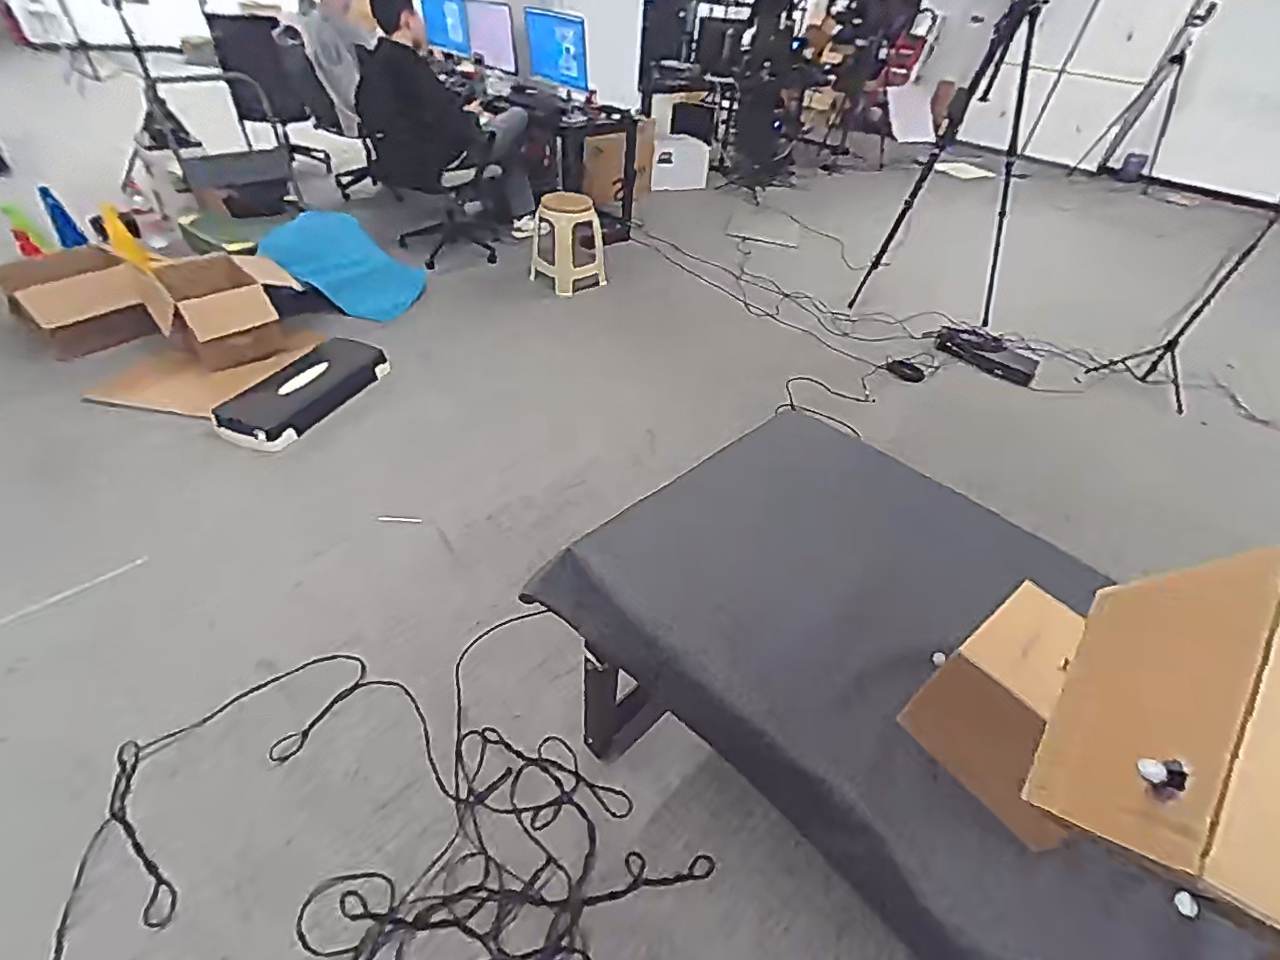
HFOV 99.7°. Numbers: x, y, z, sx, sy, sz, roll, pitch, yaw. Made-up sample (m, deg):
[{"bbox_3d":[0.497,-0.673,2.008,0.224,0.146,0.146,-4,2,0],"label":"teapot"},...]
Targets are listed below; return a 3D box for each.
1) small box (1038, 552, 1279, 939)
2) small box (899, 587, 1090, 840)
[{"bbox_3d":[0.369,0.157,0.301,0.168,0.176,0.179,27,79,19],"label":"small box"},{"bbox_3d":[0.432,0.260,0.599,0.168,0.176,0.179,-23,49,-30],"label":"small box"}]
